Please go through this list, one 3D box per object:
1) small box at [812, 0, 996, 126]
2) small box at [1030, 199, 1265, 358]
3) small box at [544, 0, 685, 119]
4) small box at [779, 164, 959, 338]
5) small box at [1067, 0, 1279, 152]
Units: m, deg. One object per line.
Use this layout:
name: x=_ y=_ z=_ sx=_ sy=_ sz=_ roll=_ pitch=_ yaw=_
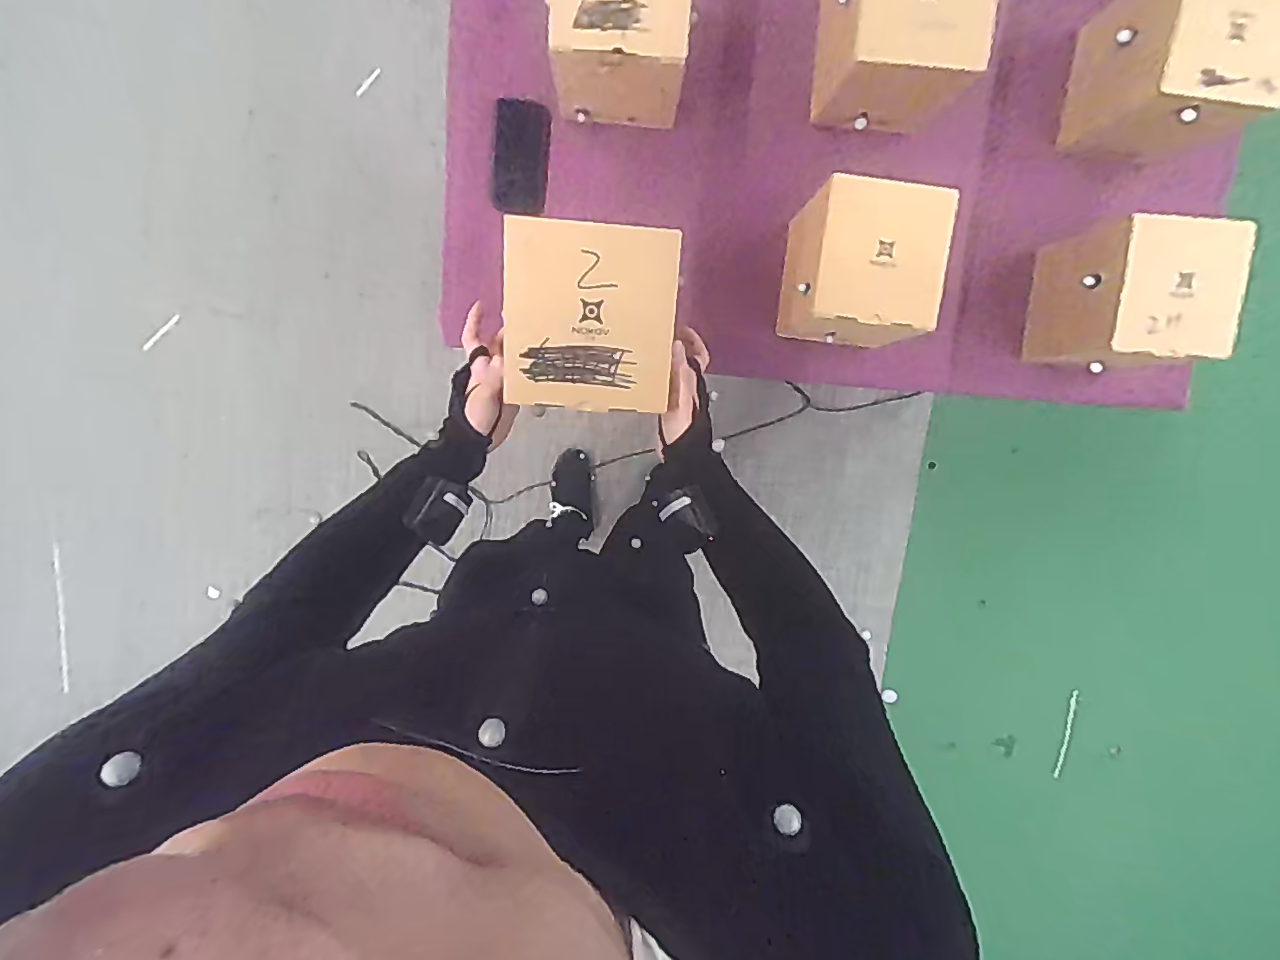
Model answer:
small box: x=0.338 y=-0.607 z=0.712 sx=0.168 sy=0.176 sz=0.179 roll=3 pitch=99 yaw=-2
small box: x=0.701 y=-0.274 z=0.770 sx=0.168 sy=0.176 sz=0.179 roll=3 pitch=99 yaw=-1
small box: x=-0.027 y=-0.603 z=0.699 sx=0.168 sy=0.176 sz=0.179 roll=3 pitch=98 yaw=-3
small box: x=0.305 y=-0.306 z=0.757 sx=0.168 sy=0.176 sz=0.179 roll=5 pitch=98 yaw=-3
small box: x=0.726 y=-0.580 z=0.727 sx=0.168 sy=0.176 sz=0.179 roll=5 pitch=98 yaw=-2
